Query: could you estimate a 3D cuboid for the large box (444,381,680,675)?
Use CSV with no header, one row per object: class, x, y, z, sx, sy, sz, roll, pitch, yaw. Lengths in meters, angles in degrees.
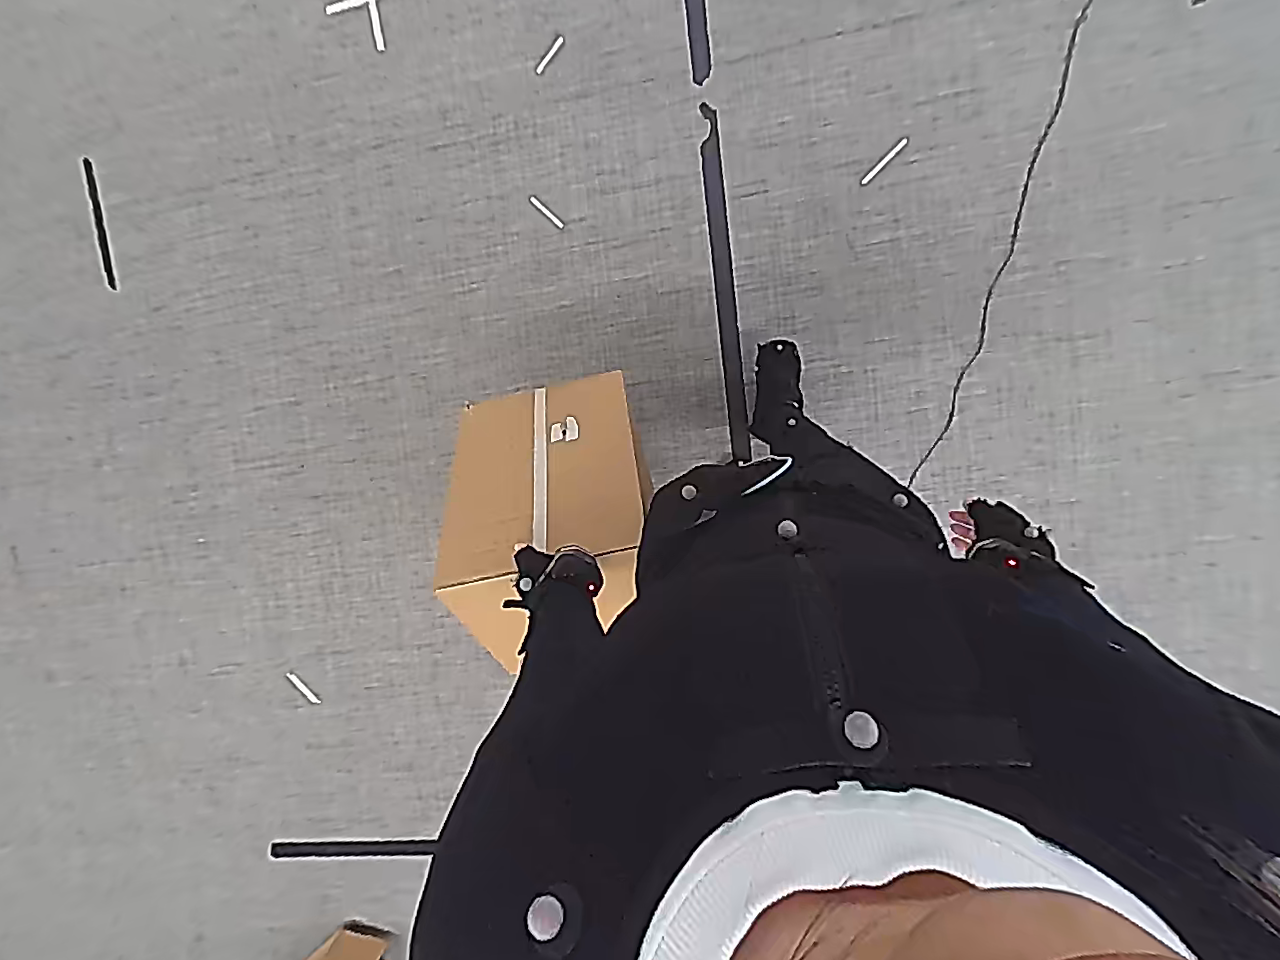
large box,-0.127,0.084,1.000,0.320,0.408,0.320,-12,136,3
